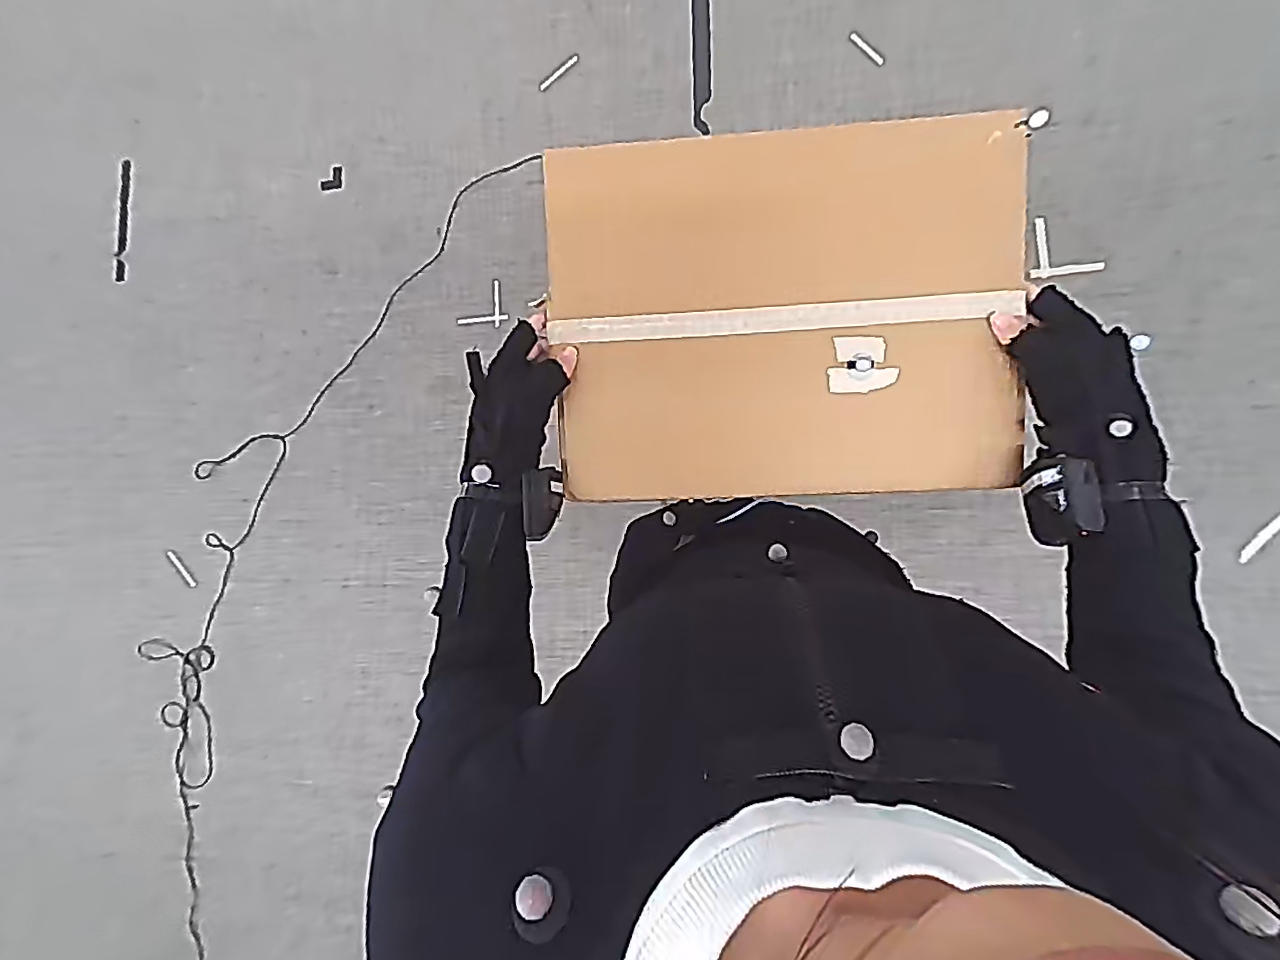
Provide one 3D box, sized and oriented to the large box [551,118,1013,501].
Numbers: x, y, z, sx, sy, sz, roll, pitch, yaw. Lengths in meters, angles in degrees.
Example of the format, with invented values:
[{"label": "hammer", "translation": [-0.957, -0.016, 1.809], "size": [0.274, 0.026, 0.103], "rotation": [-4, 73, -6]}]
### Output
[{"label": "large box", "translation": [0.134, -0.156, 0.633], "size": [0.408, 0.320, 0.320], "rotation": [-3, 95, 4]}]
